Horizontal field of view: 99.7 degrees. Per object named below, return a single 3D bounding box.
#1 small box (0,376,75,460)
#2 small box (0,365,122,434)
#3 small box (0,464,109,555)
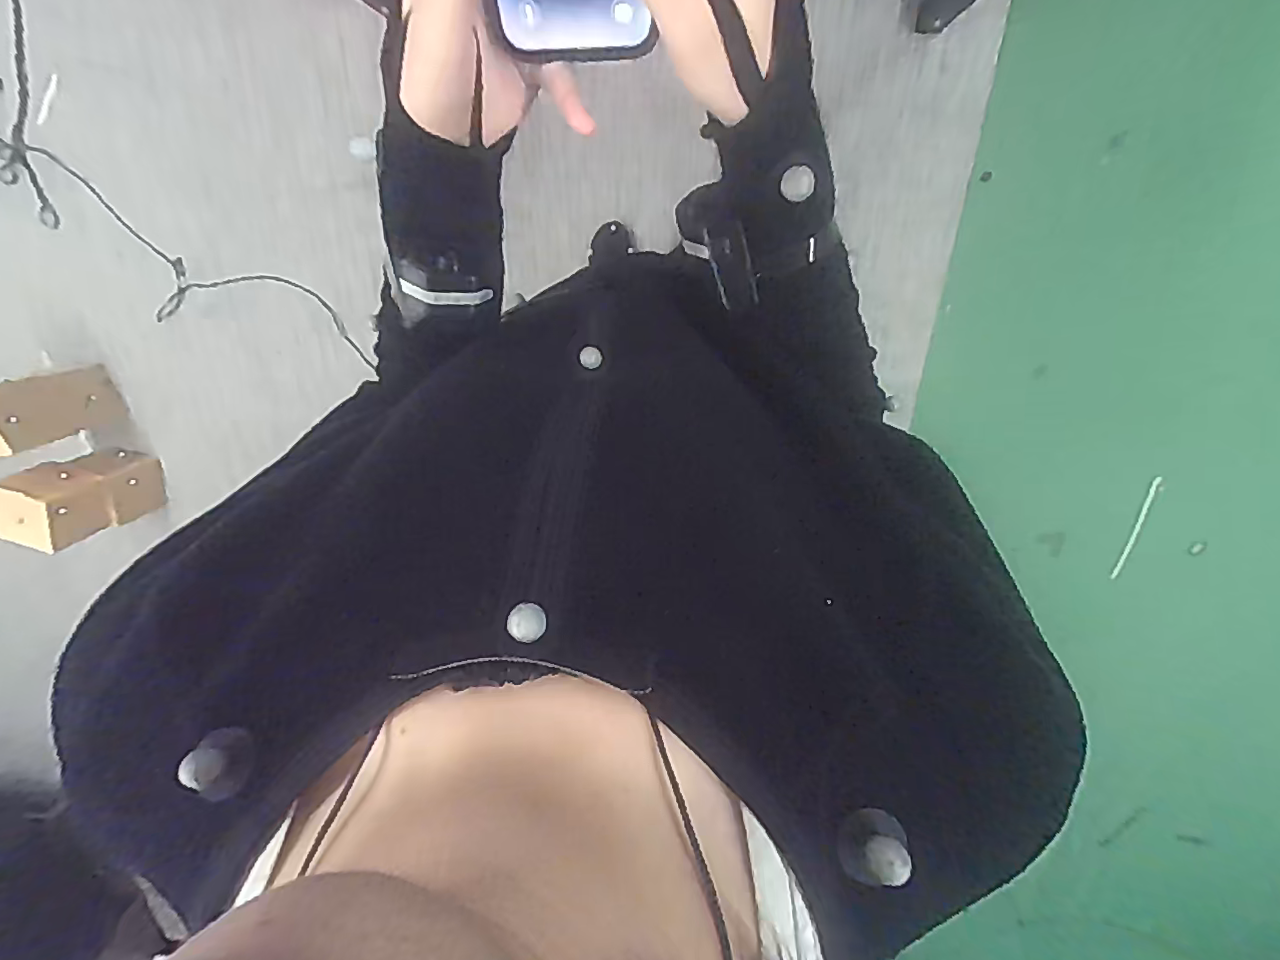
[{"bbox_3d":[-1.679,-0.160,1.427,0.168,0.176,0.179,-8,113,9],"label":"small box"},{"bbox_3d":[-1.676,-0.233,1.573,0.179,0.176,0.168,-3,113,8],"label":"small box"},{"bbox_3d":[-1.668,0.079,1.534,0.168,0.176,0.179,19,113,-2],"label":"small box"}]
